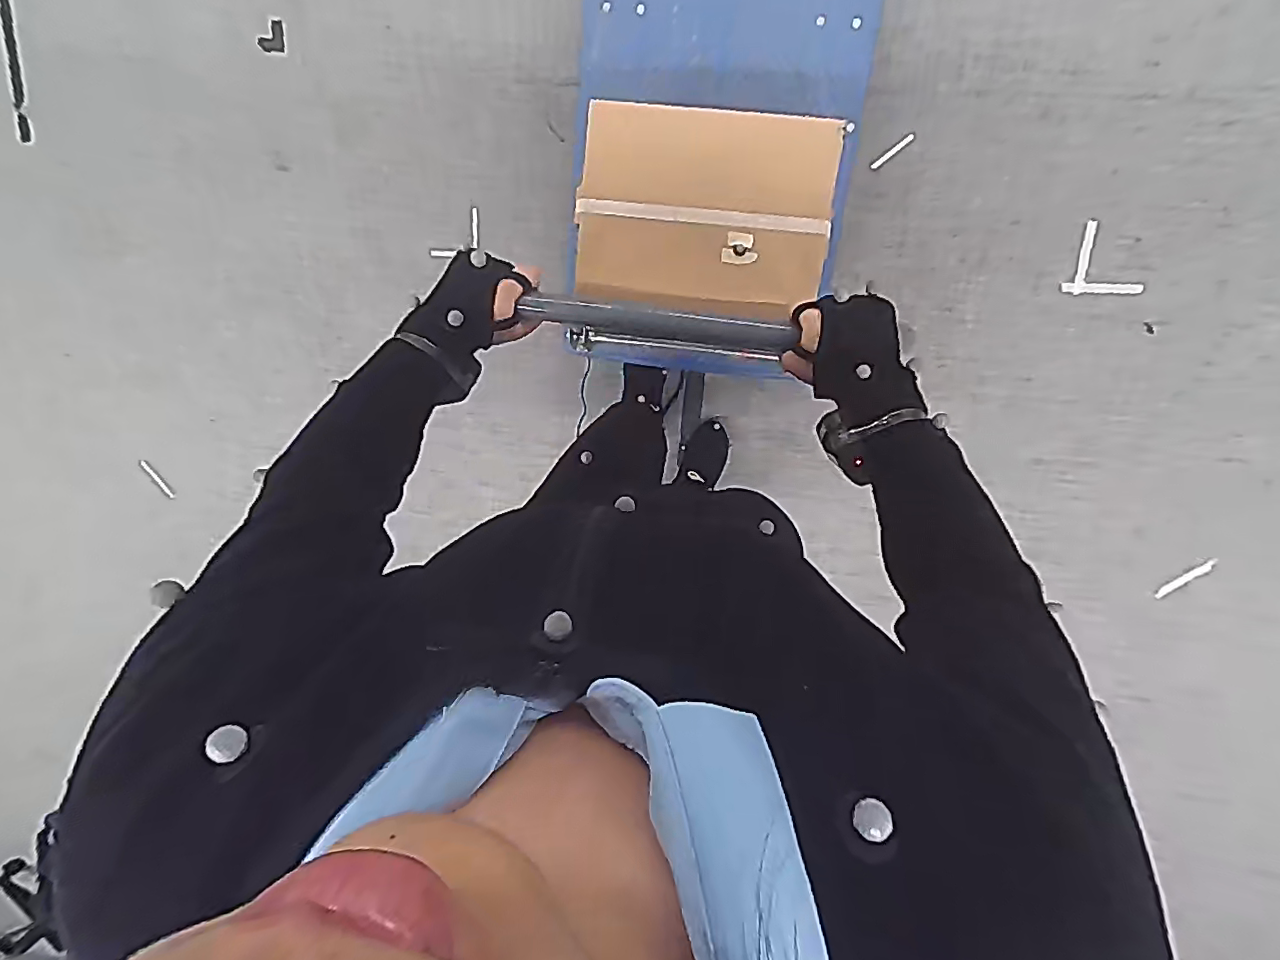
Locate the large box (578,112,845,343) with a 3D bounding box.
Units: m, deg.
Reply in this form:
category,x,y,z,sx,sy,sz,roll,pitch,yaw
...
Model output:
category,x,y,z,sx,sy,sz,roll,pitch,yaw
large box,0.114,-0.438,1.013,0.408,0.320,0.320,7,103,3
